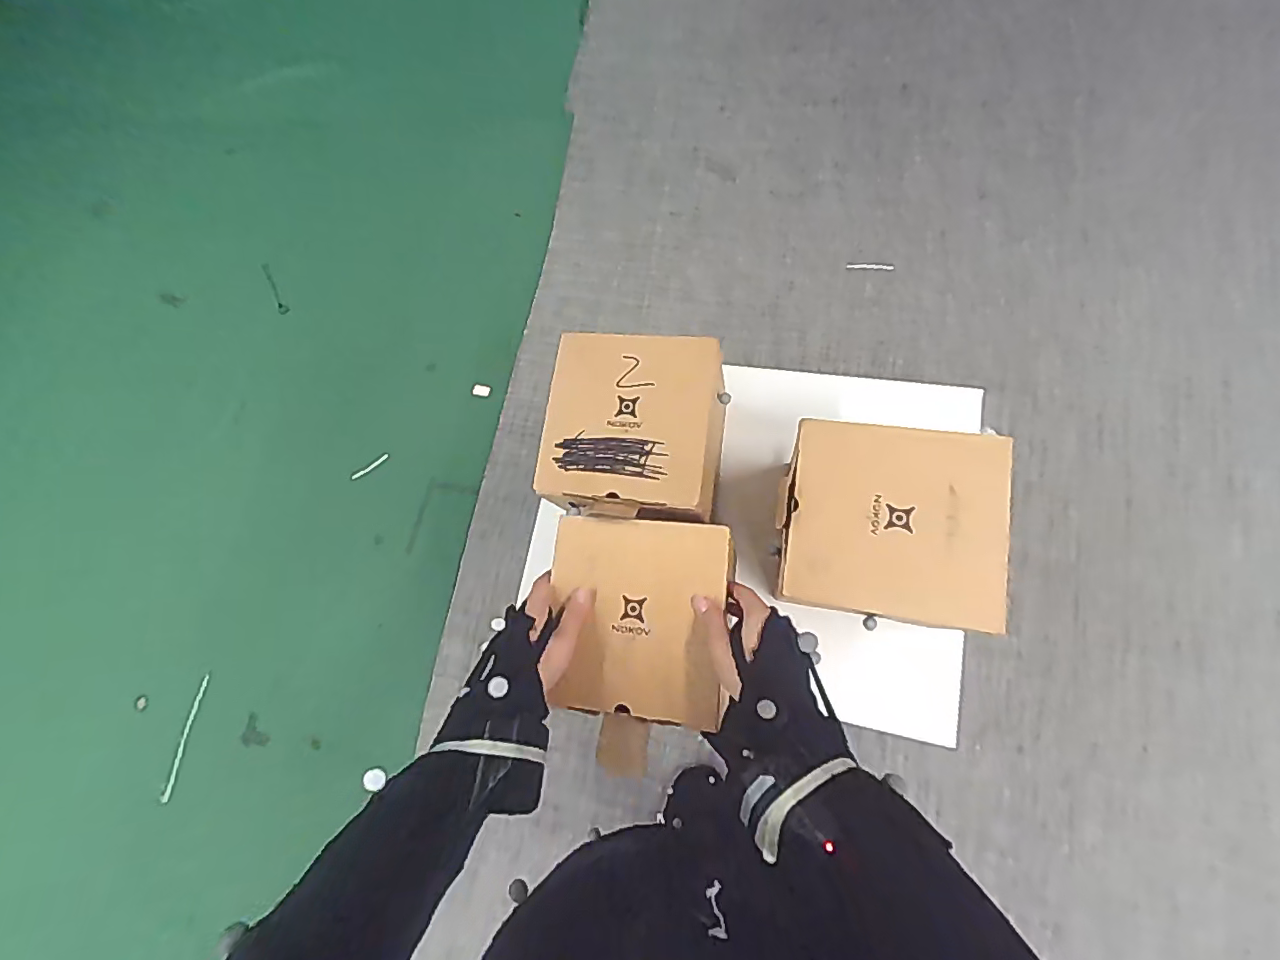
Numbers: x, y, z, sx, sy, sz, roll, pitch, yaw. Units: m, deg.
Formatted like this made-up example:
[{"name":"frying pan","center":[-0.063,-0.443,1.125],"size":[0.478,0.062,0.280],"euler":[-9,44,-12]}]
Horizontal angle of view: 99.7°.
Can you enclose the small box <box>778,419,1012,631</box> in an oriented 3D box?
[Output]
[{"name":"small box","center":[0.234,0.050,0.537],"size":[0.179,0.176,0.168],"euler":[7,79,14]}]
